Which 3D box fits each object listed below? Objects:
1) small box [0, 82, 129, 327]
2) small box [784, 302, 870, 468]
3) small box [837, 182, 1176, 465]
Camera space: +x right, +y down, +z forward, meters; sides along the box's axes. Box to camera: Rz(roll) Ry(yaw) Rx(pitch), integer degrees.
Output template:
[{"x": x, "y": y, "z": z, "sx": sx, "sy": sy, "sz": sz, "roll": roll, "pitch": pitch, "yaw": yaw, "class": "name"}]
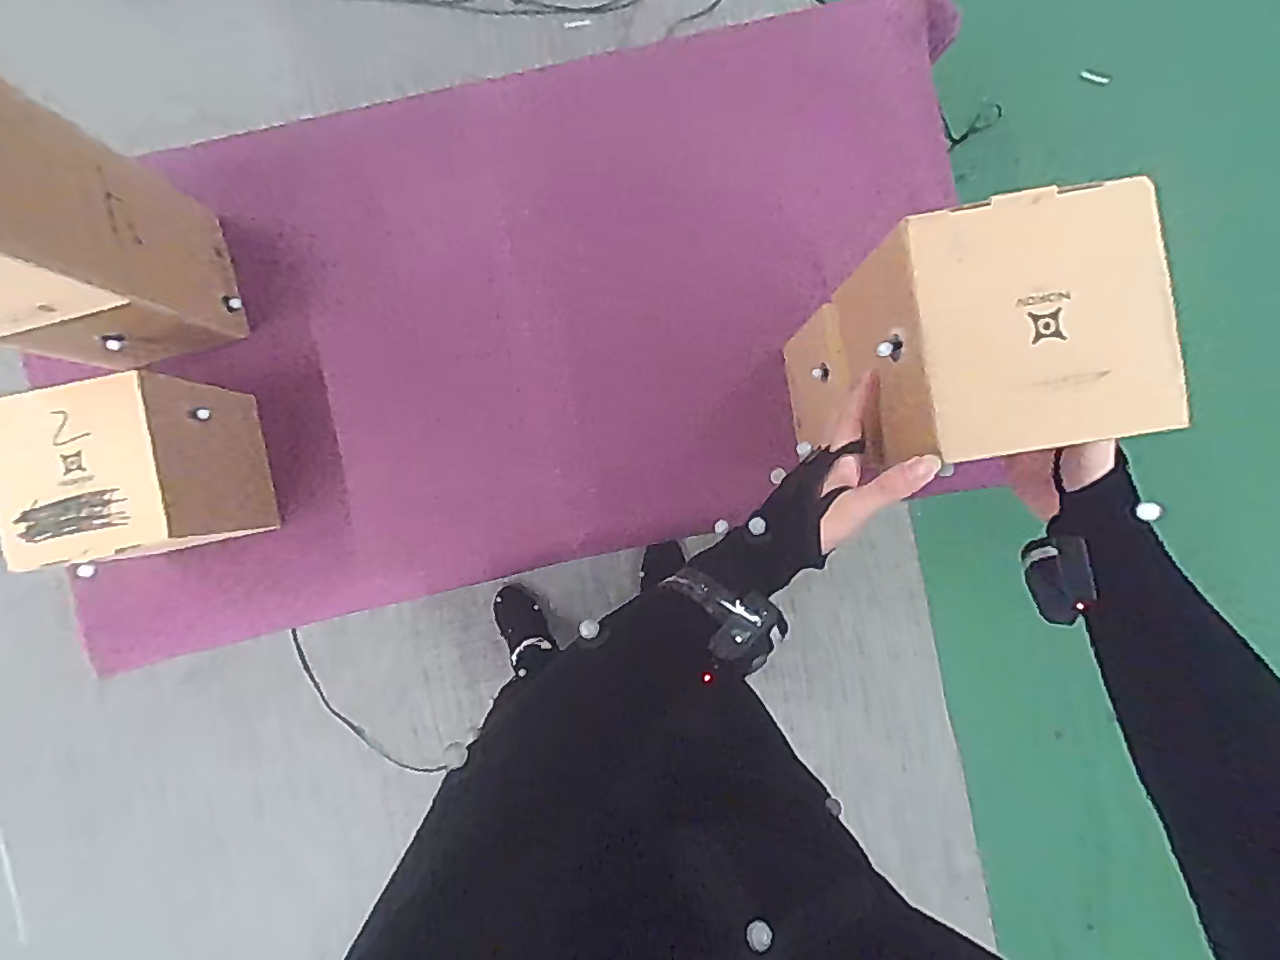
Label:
[{"x": -0.593, "y": -0.240, "z": 0.454, "sx": 0.168, "sy": 0.176, "sz": 0.179, "roll": -14, "pitch": 90, "yaw": 0, "class": "small box"}, {"x": 0.279, "y": -0.105, "z": 0.616, "sx": 0.179, "sy": 0.176, "sz": 0.168, "roll": -8, "pitch": 89, "yaw": 1, "class": "small box"}, {"x": 0.278, "y": -0.109, "z": 0.453, "sx": 0.168, "sy": 0.176, "sz": 0.179, "roll": -8, "pitch": 91, "yaw": 3, "class": "small box"}]
